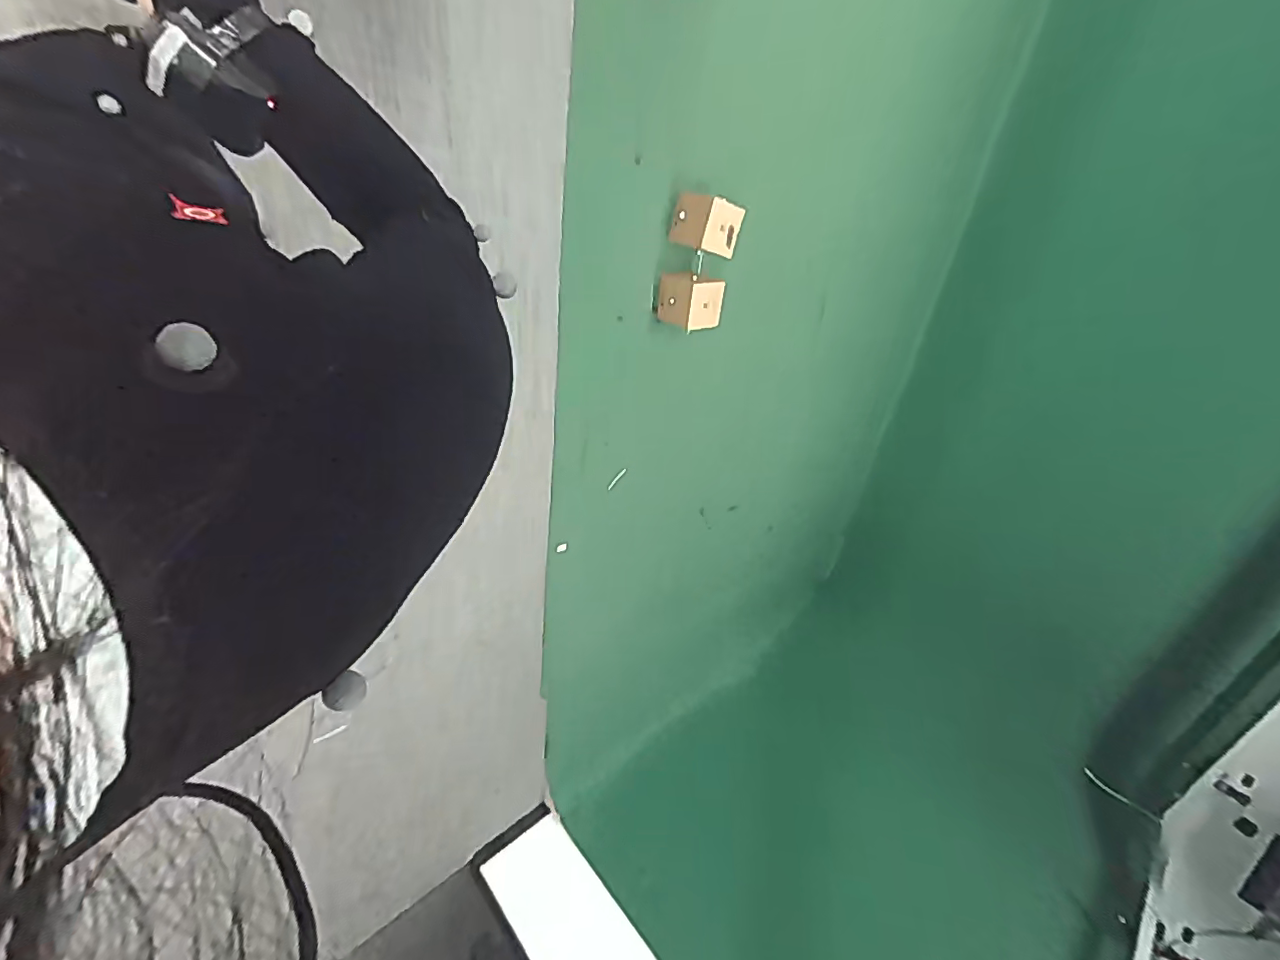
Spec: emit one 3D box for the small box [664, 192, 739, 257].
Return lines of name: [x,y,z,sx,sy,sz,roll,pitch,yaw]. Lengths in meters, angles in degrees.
small box: [0.218,-0.911,1.924,0.179,0.176,0.168,-6,119,-45]

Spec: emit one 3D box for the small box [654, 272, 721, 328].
small box: [0.173,-0.681,2.036,0.179,0.176,0.168,-21,130,-39]
